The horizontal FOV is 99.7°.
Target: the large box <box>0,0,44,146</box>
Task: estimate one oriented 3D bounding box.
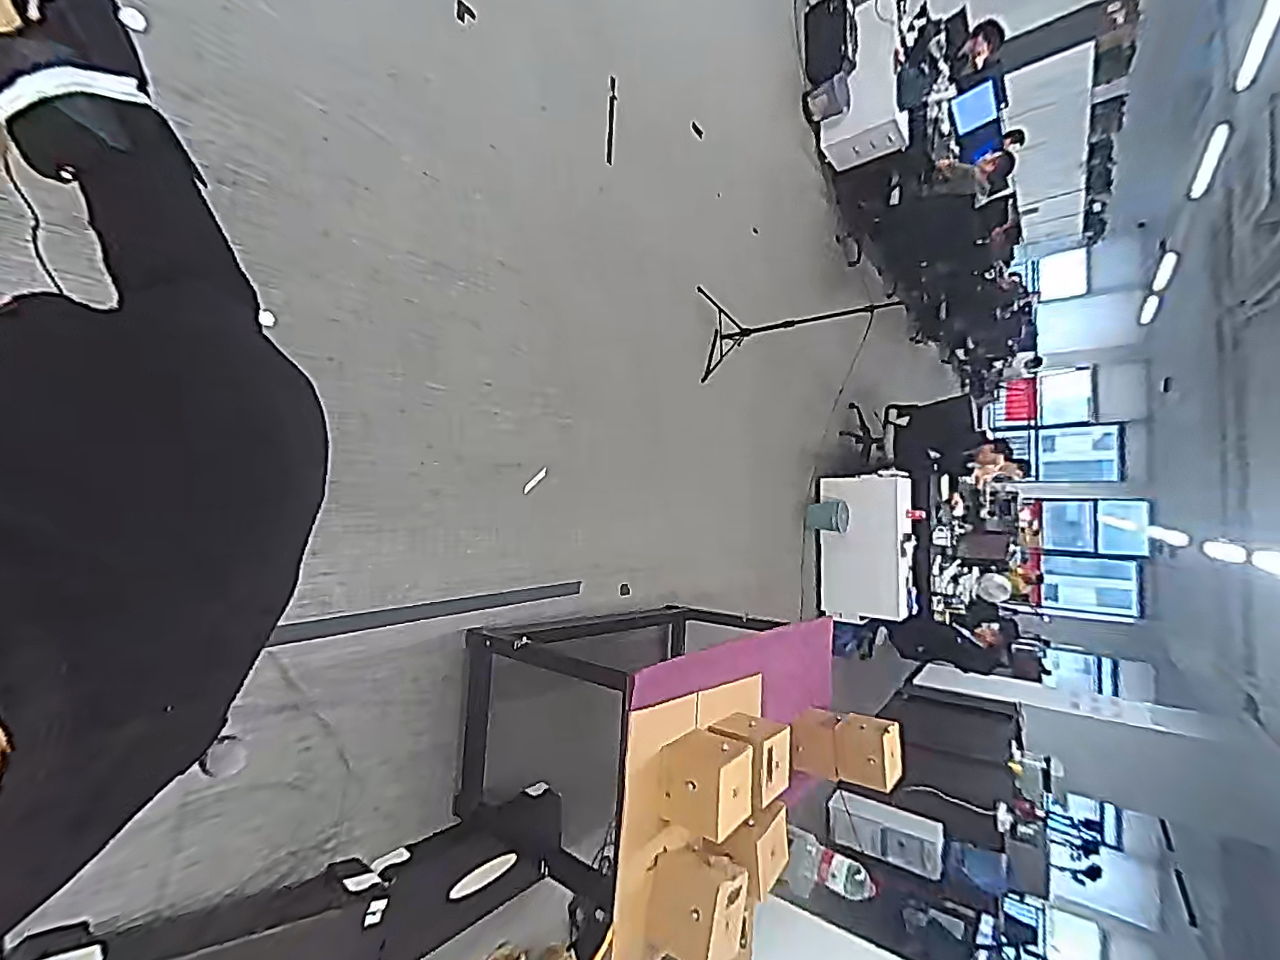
[{"bbox_3d":[-0.649,-0.348,0.246,0.408,0.320,0.320,-33,124,-48],"label":"large box"}]
